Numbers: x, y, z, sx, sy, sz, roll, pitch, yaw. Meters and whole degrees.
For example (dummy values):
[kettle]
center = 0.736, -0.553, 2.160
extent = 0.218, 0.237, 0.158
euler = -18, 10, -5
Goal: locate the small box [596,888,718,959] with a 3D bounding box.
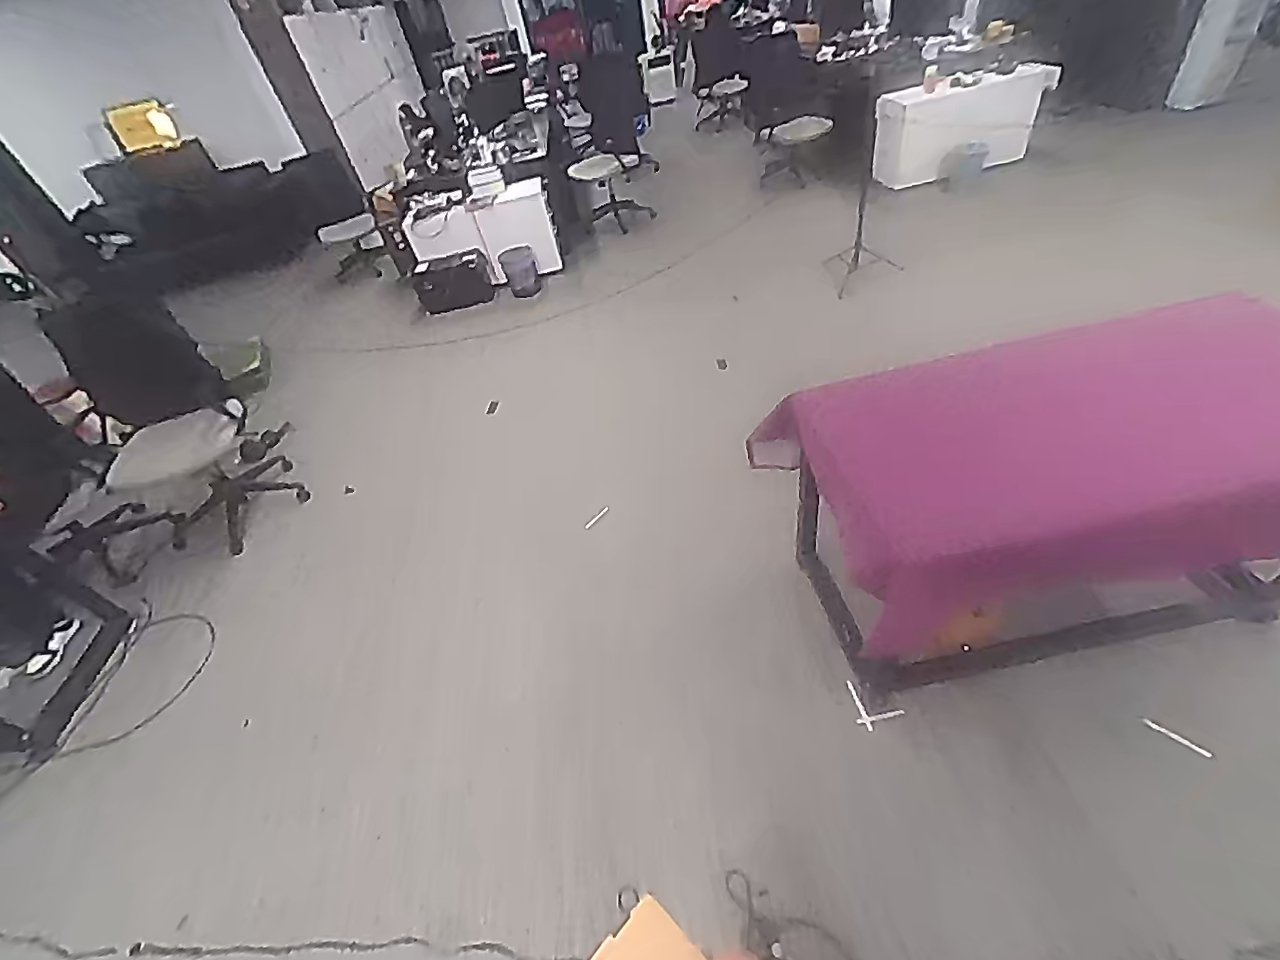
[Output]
[small box]
center = 0.029, 0.640, 0.636
extent = 0.179, 0.176, 0.168
euler = 31, 56, 33
